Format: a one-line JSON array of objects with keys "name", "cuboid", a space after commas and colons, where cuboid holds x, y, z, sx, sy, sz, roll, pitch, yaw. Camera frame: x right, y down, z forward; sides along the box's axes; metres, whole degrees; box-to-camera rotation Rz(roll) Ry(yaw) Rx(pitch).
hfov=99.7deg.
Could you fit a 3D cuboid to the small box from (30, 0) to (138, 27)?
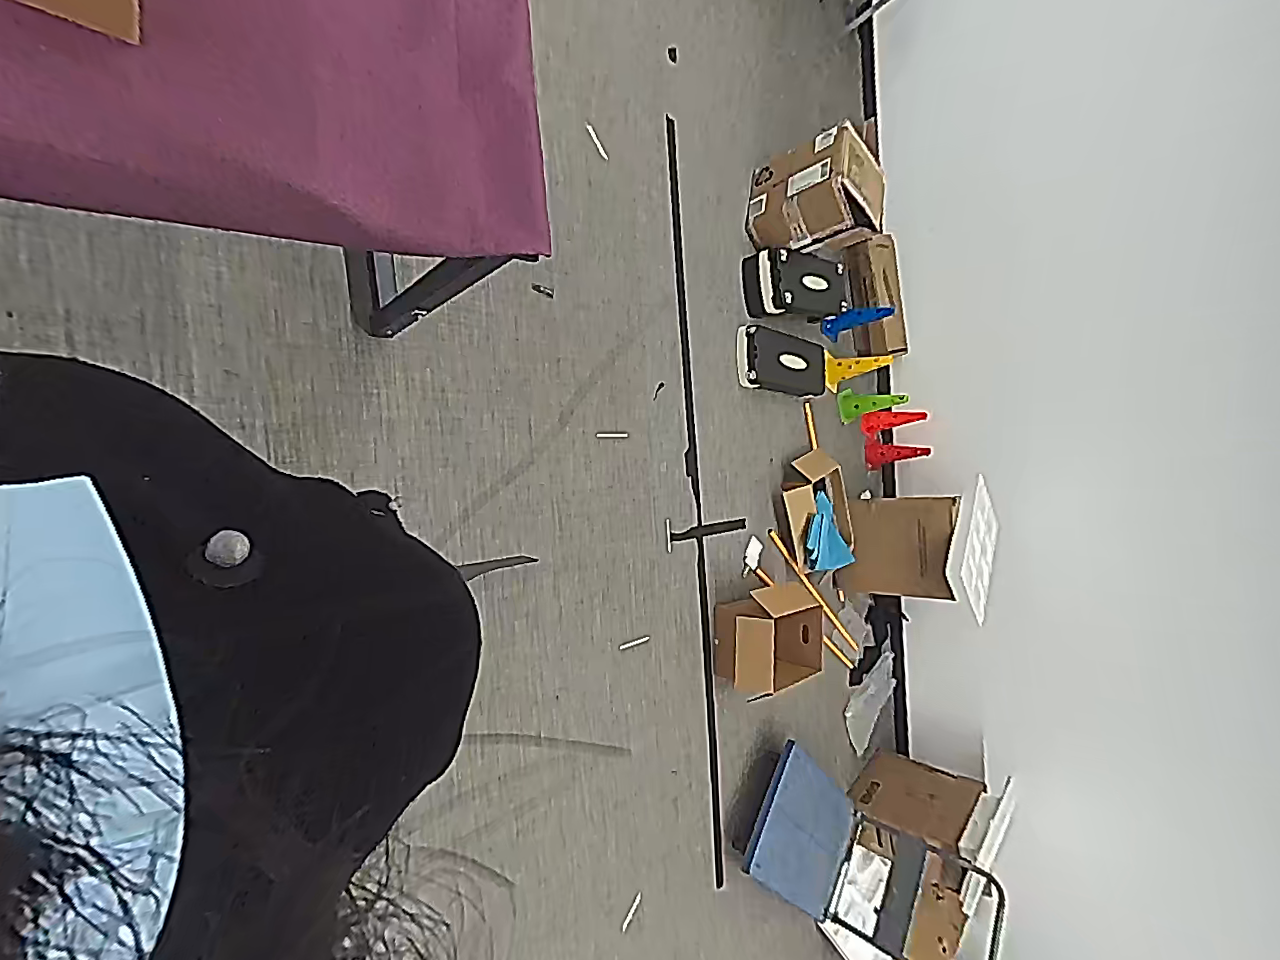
[{"name": "small box", "cuboid": [-0.566, -0.564, 0.481, 0.179, 0.176, 0.168, -3, 90, -43]}]
